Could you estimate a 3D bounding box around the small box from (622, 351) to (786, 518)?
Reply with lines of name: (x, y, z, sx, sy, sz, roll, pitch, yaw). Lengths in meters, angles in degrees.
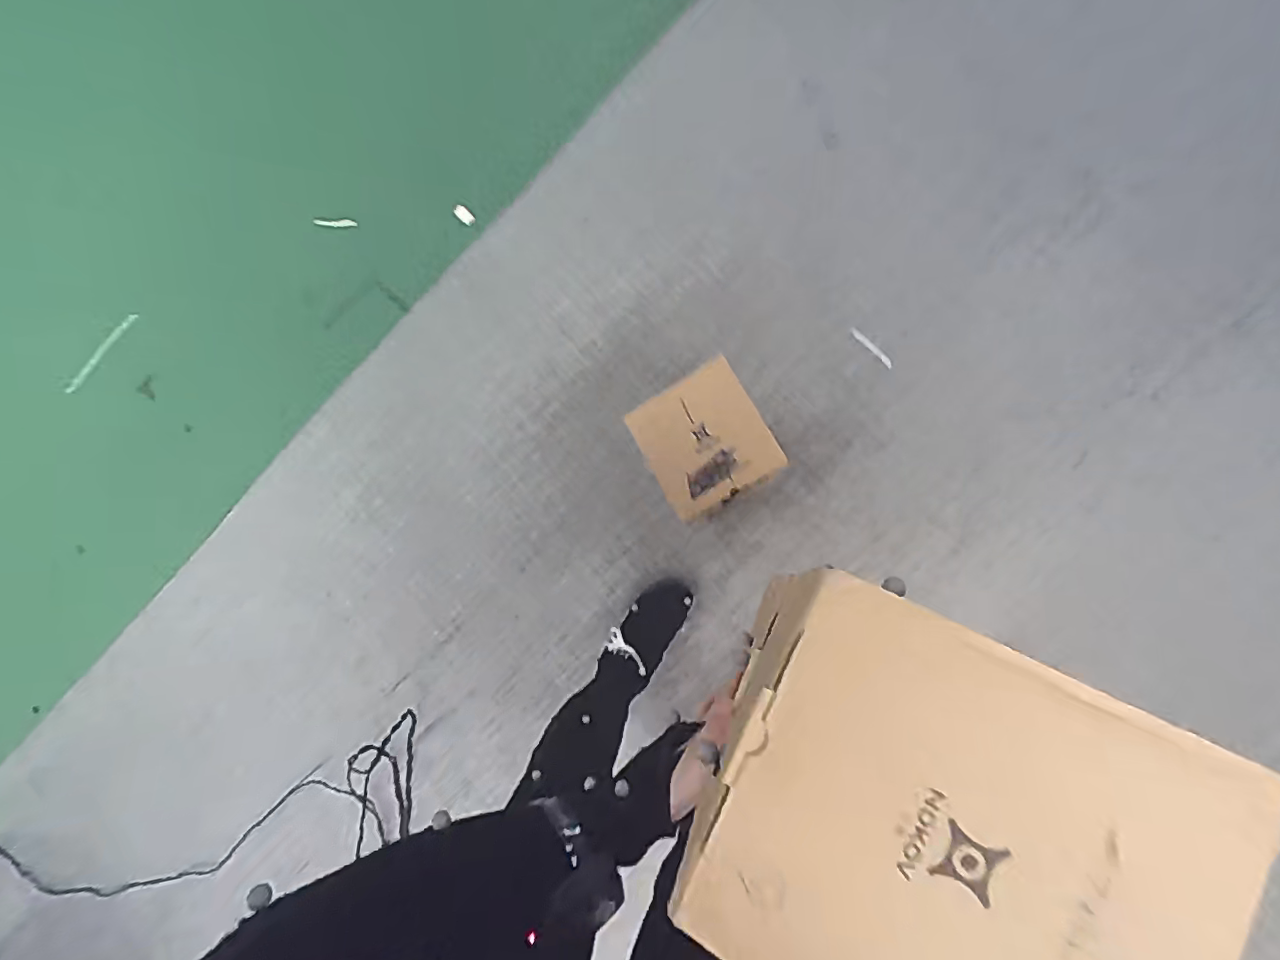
small box: (0.099, -0.058, 0.797, 0.168, 0.176, 0.179, -28, 82, 8)

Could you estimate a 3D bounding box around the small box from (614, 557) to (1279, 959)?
small box: (0.116, 0.155, 0.265, 0.179, 0.176, 0.168, 27, 86, 15)
